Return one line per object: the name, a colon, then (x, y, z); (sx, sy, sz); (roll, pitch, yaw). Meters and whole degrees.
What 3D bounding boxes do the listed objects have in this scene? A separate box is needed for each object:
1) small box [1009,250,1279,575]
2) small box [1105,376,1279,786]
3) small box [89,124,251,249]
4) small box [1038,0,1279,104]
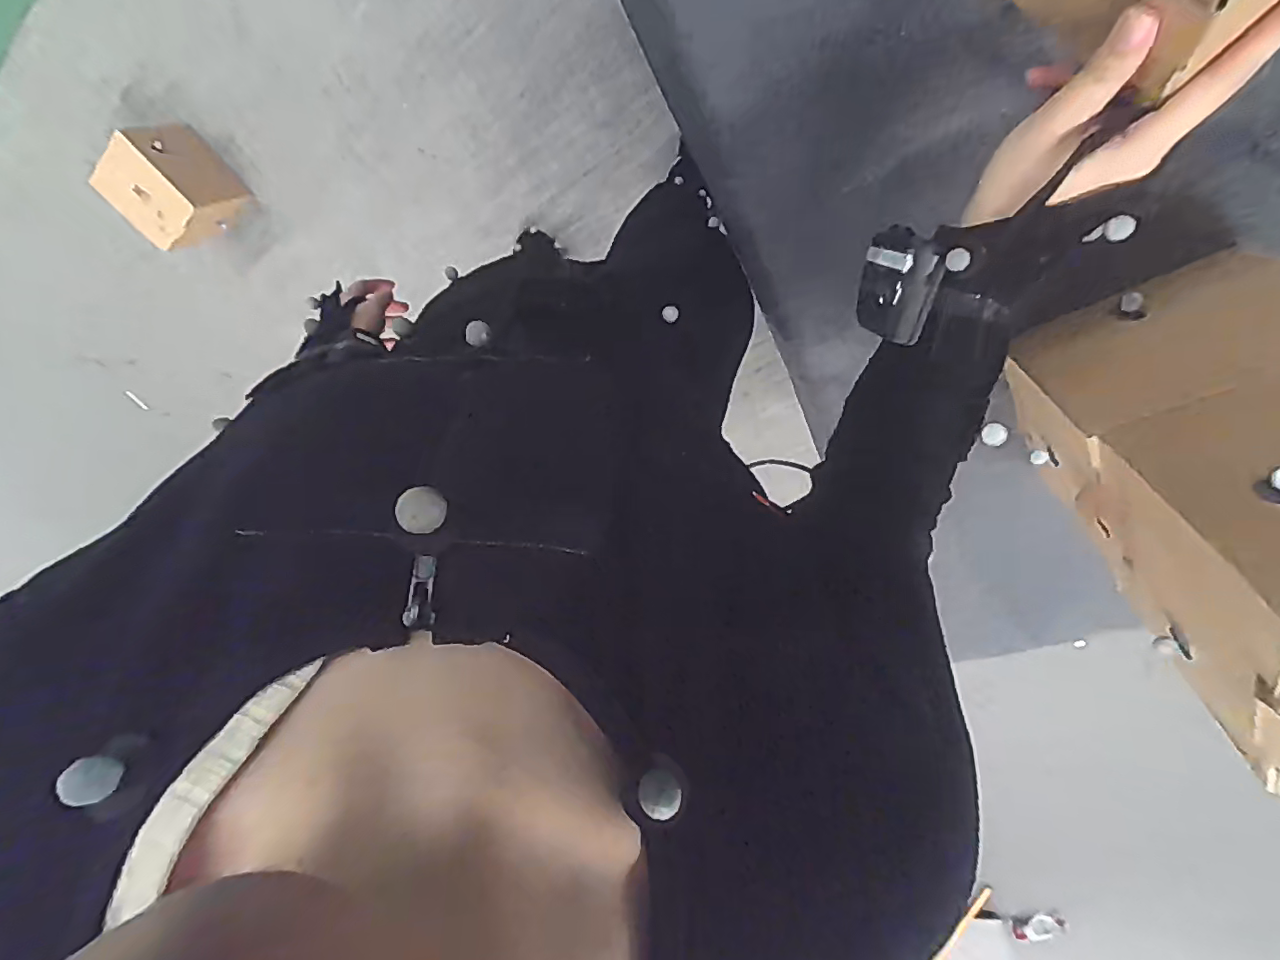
small box: (0.432, -0.055, 0.440); (0.179, 0.176, 0.168); (-23, 119, 25)
small box: (0.411, 0.044, 0.312); (0.179, 0.176, 0.168); (-21, 120, 23)
small box: (-1.023, -0.647, 1.189); (0.168, 0.176, 0.179); (-26, 117, 27)
small box: (0.225, -0.294, 0.178); (0.179, 0.168, 0.176); (-38, 73, 21)
